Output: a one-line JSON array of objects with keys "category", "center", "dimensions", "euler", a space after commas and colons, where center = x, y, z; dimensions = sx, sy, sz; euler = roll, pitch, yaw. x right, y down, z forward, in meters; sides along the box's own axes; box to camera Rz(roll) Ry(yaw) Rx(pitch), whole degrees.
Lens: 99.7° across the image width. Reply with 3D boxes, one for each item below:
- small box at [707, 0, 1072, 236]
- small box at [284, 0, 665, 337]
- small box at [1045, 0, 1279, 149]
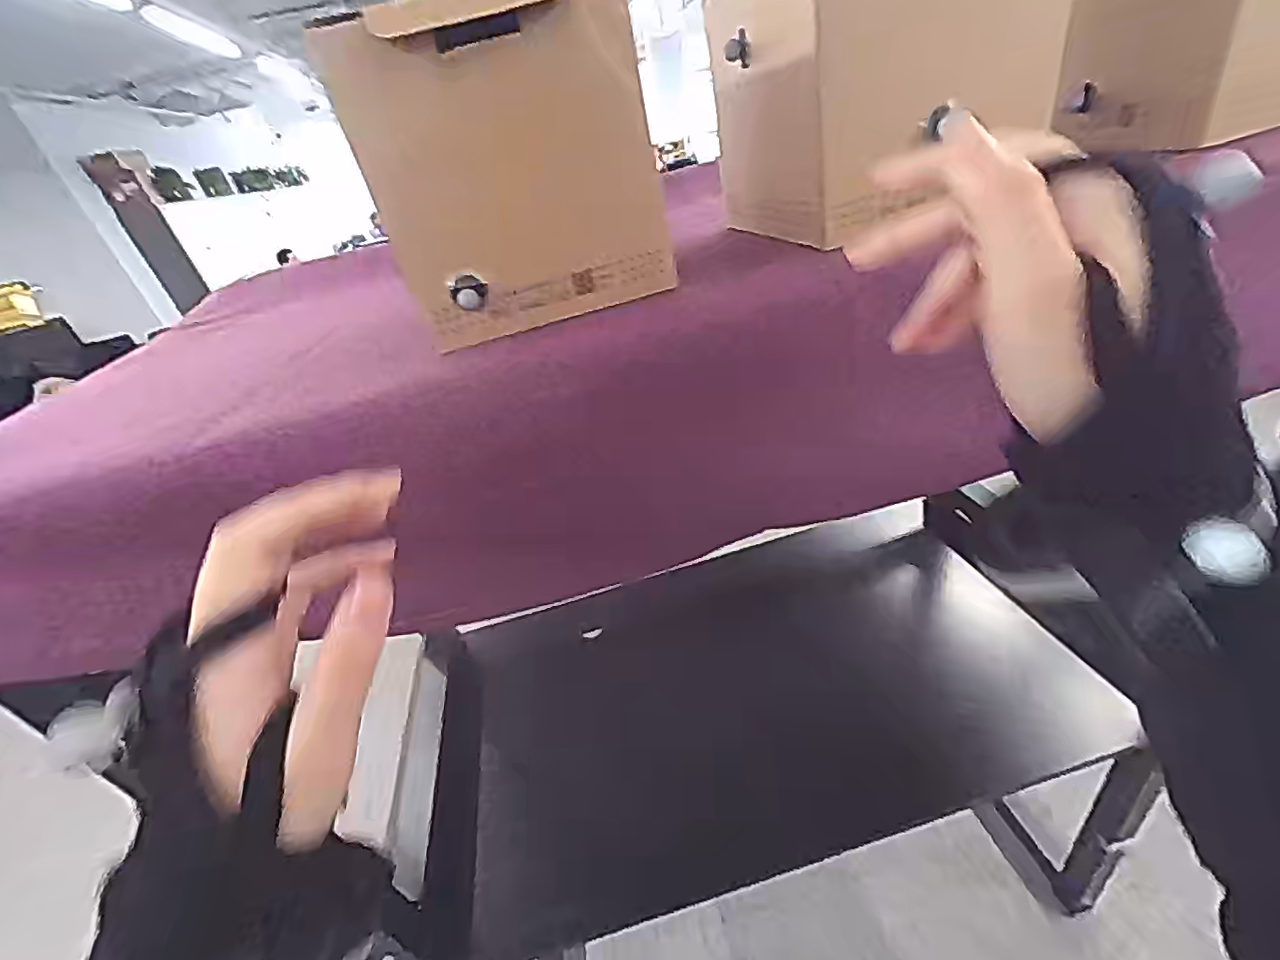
[{"category": "small box", "center": [0.158, -0.284, 0.383], "dimensions": [0.168, 0.176, 0.179], "euler": [-18, 32, -5]}, {"category": "small box", "center": [-0.092, -0.211, 0.369], "dimensions": [0.168, 0.176, 0.179], "euler": [-18, 32, -6]}, {"category": "small box", "center": [0.430, -0.355, 0.389], "dimensions": [0.179, 0.176, 0.168], "euler": [-16, 31, -1]}]
